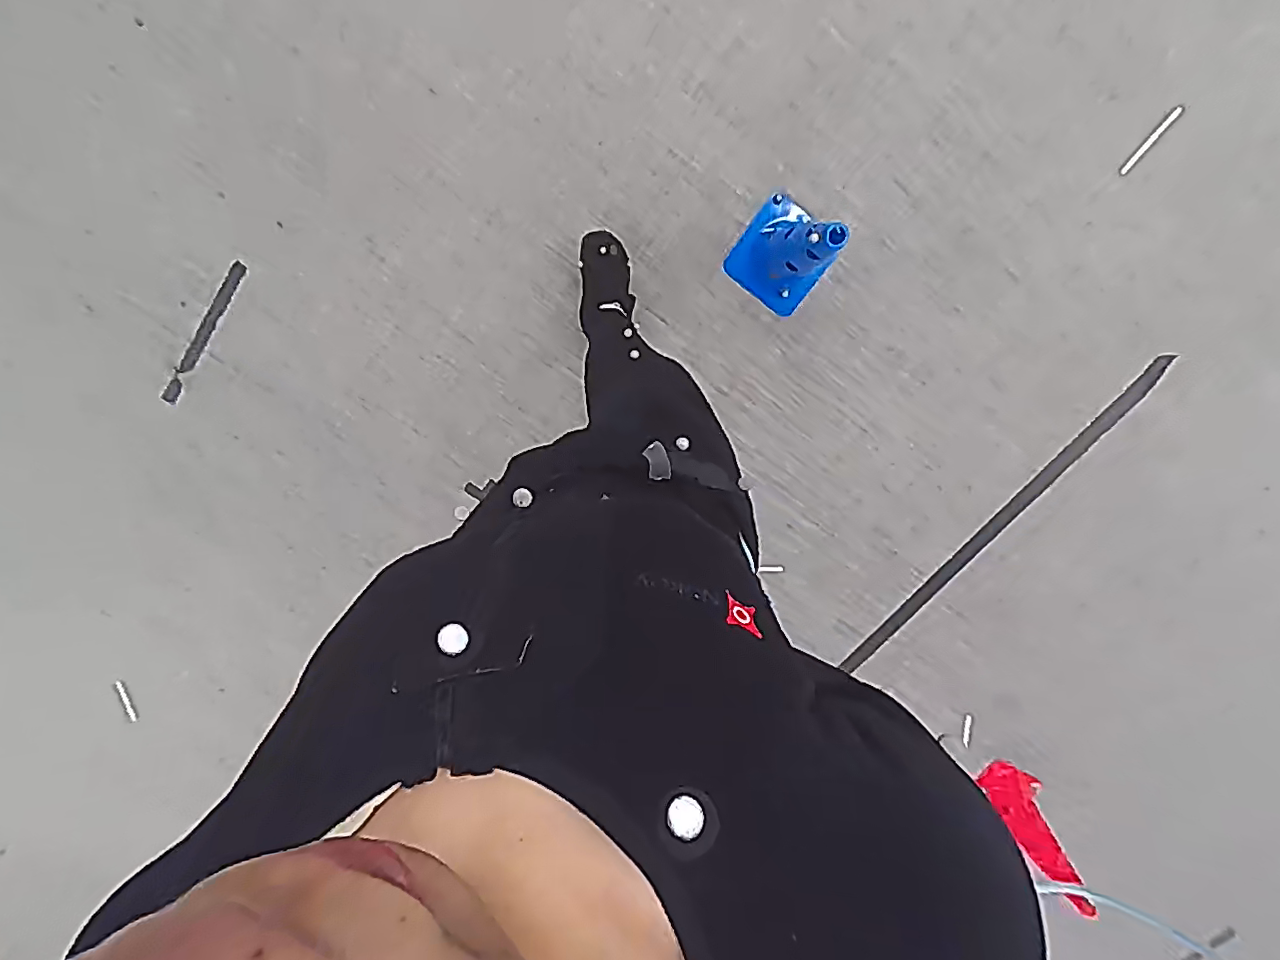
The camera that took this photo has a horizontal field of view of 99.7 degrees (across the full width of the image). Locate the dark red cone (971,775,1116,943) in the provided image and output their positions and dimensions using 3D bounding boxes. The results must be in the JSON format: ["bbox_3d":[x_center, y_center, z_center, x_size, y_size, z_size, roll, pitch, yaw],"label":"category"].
[{"bbox_3d":[1.128,1.037,1.480,0.201,0.394,0.202,28,105,-7],"label":"dark red cone"}]

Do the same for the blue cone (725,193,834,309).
[{"bbox_3d":[0.303,-0.455,1.041,0.192,0.380,0.193,36,104,-9],"label":"blue cone"}]
